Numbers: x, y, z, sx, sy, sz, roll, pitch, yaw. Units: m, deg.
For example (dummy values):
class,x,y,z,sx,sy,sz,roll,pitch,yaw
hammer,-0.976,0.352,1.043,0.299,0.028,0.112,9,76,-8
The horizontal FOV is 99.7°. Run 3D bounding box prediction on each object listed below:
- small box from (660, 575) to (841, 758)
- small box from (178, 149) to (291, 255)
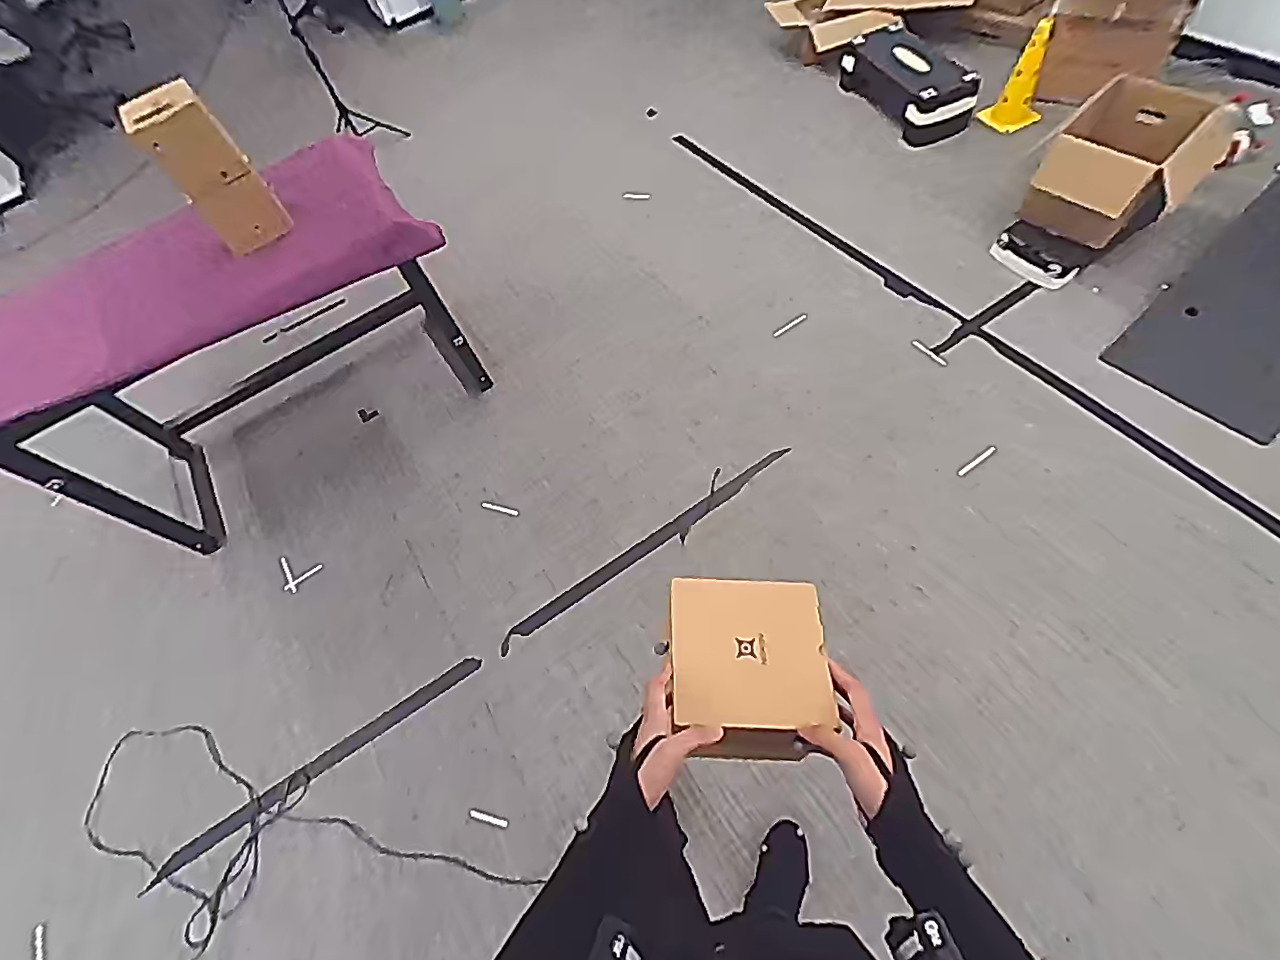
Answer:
class,x,y,z,sx,sy,sz,roll,pitch,yaw
small box,0.115,0.228,0.650,0.179,0.176,0.168,2,53,-2
small box,-1.097,-0.757,1.480,0.179,0.176,0.168,-36,62,-11
